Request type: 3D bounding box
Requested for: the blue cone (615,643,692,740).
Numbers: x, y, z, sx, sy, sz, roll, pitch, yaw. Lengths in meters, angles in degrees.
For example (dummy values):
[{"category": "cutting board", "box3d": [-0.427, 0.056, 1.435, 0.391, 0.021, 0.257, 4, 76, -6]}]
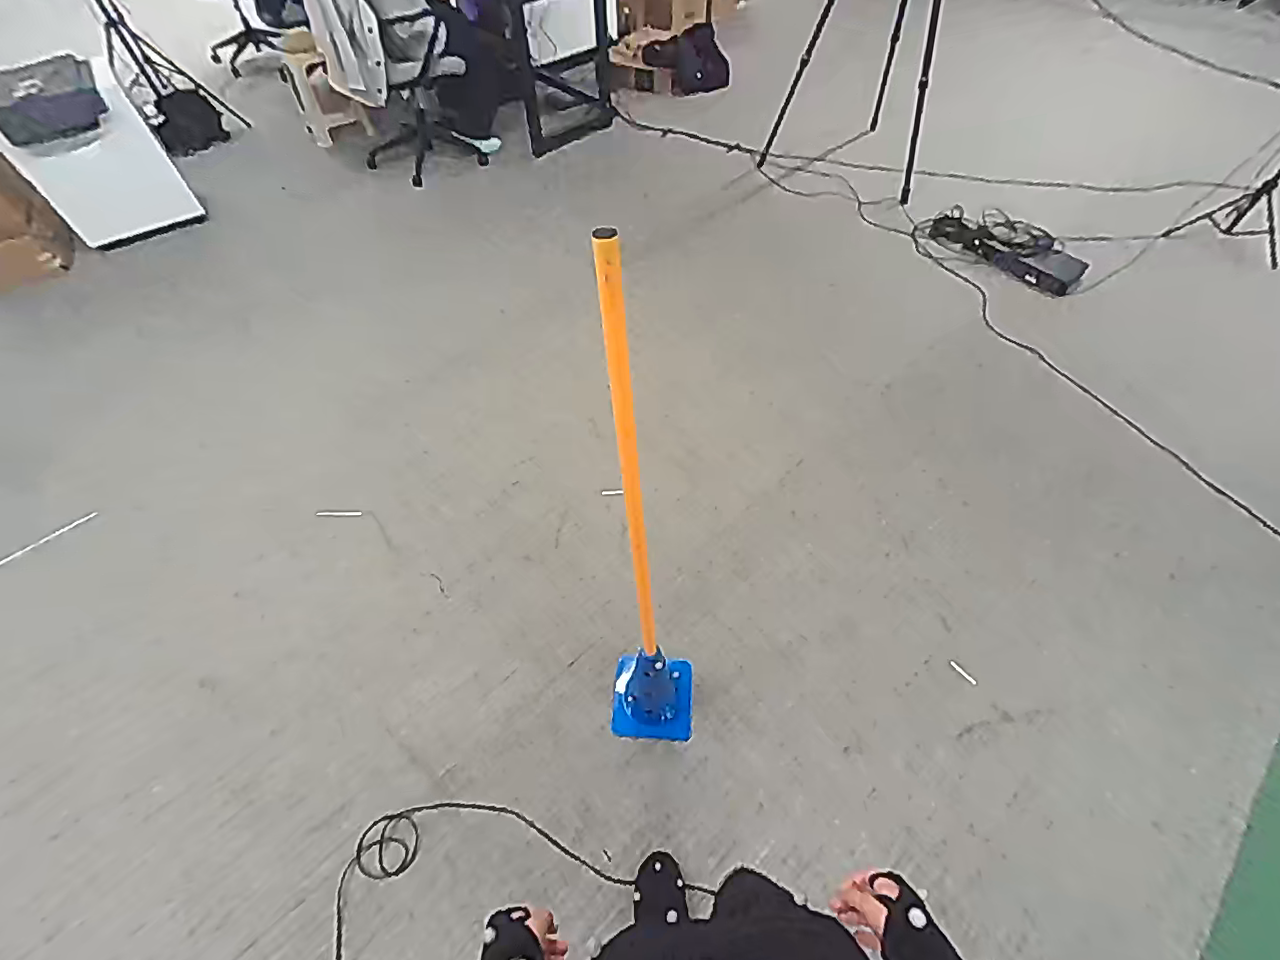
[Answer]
[{"category": "blue cone", "box3d": [0.028, 0.456, 1.235, 0.192, 0.380, 0.193, 1, 53, 3]}]
